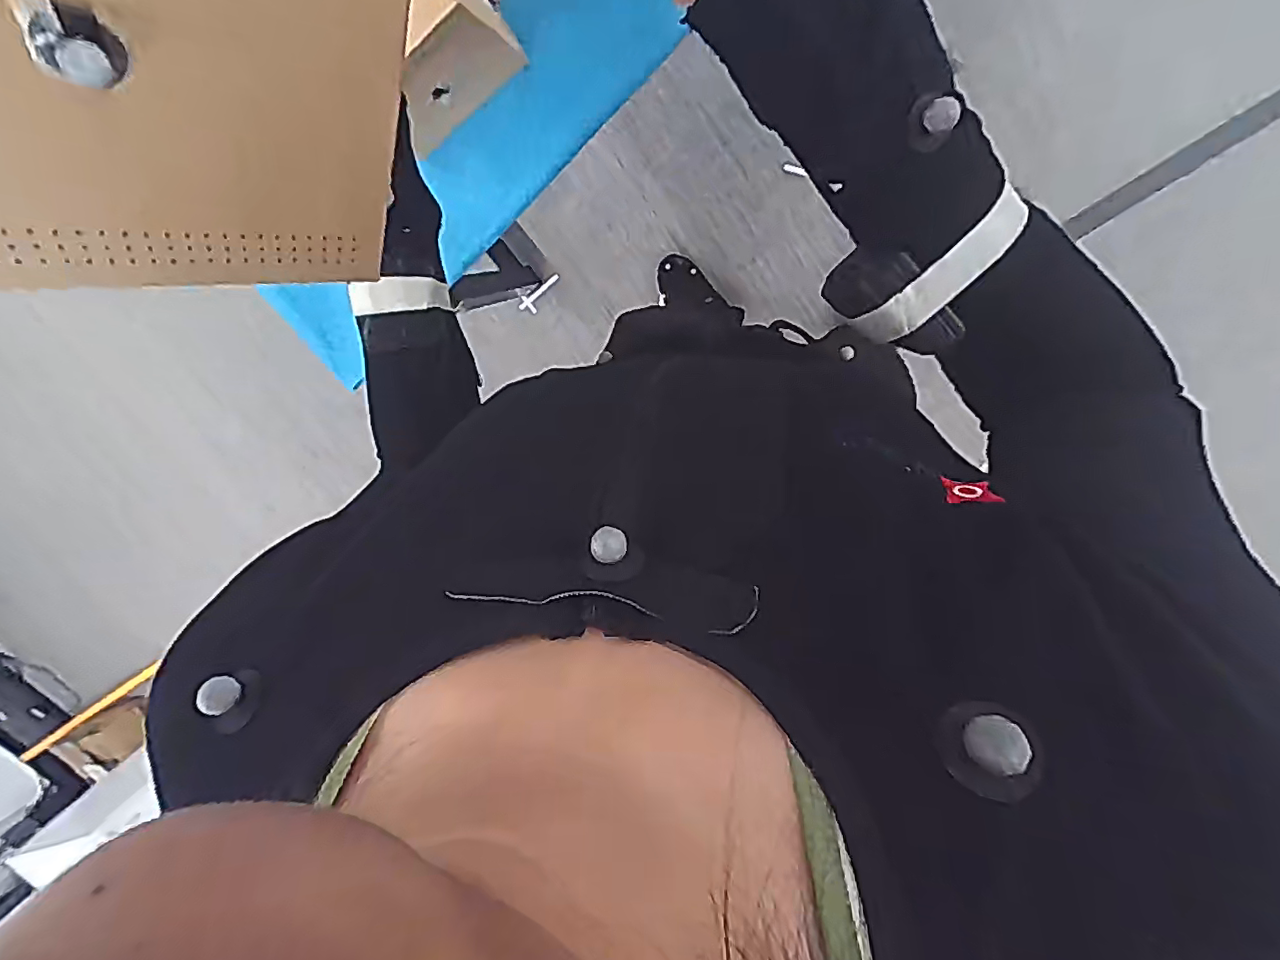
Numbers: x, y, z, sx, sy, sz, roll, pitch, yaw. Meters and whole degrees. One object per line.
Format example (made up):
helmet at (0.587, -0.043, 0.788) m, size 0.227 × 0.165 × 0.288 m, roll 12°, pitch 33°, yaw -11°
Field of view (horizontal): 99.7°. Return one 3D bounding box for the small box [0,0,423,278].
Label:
small box at (-0.203, -0.195, 0.199) m, size 0.168 × 0.179 × 0.176 m, roll 59°, pitch 141°, yaw 15°

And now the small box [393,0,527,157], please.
small box at (-0.244, -0.448, 0.510) m, size 0.168 × 0.176 × 0.179 m, roll -29°, pitch 106°, yaw 20°
